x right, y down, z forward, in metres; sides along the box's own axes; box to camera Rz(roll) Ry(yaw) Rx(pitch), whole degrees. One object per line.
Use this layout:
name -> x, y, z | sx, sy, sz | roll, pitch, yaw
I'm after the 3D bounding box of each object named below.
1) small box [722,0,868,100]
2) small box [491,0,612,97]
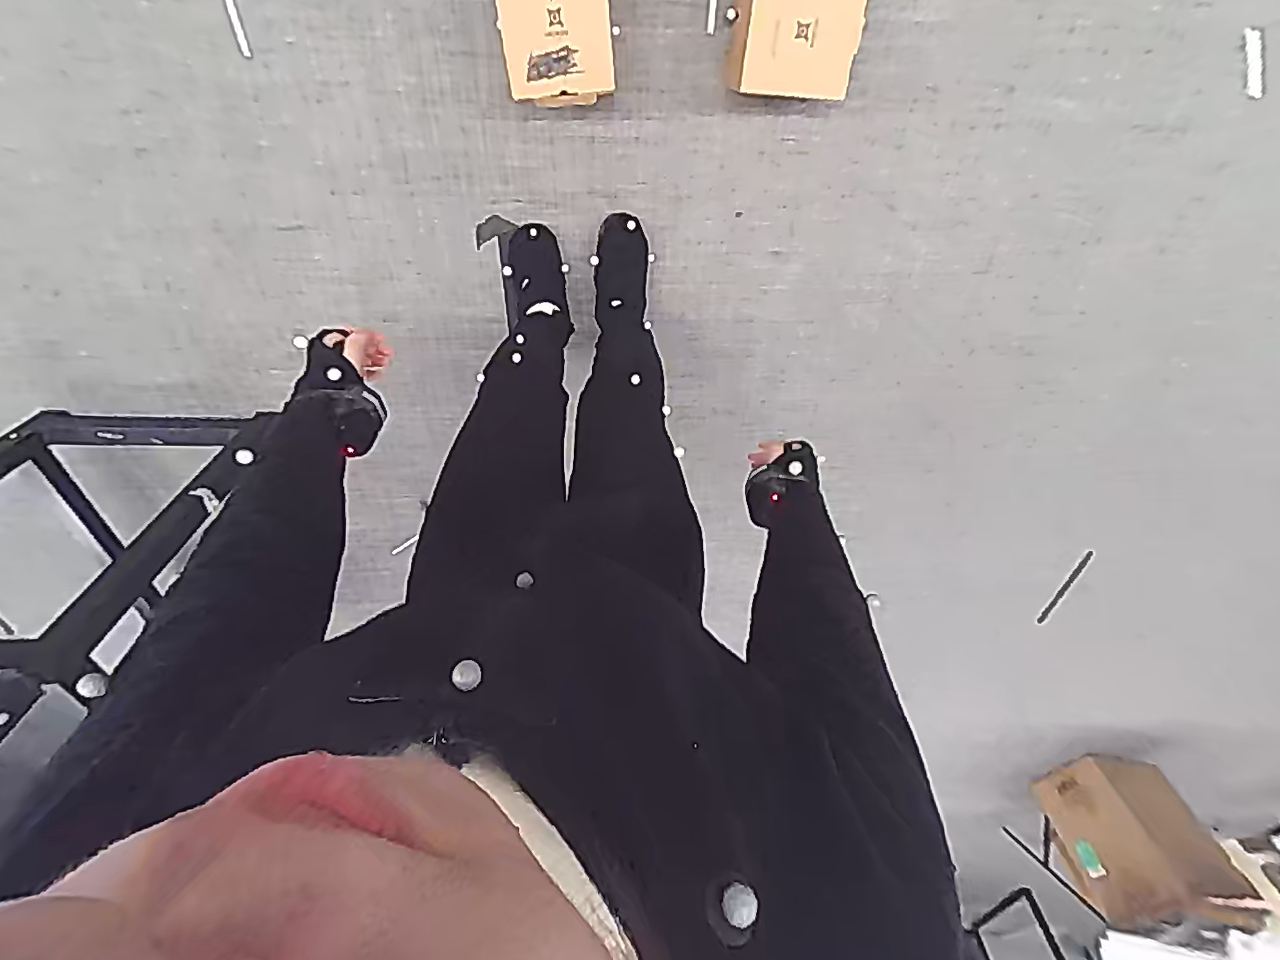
small box -> 0.242, -0.727, 0.870 | 0.179, 0.176, 0.168 | 2, 128, -5
small box -> -0.133, -0.722, 0.850 | 0.168, 0.176, 0.179 | -5, 128, 0
